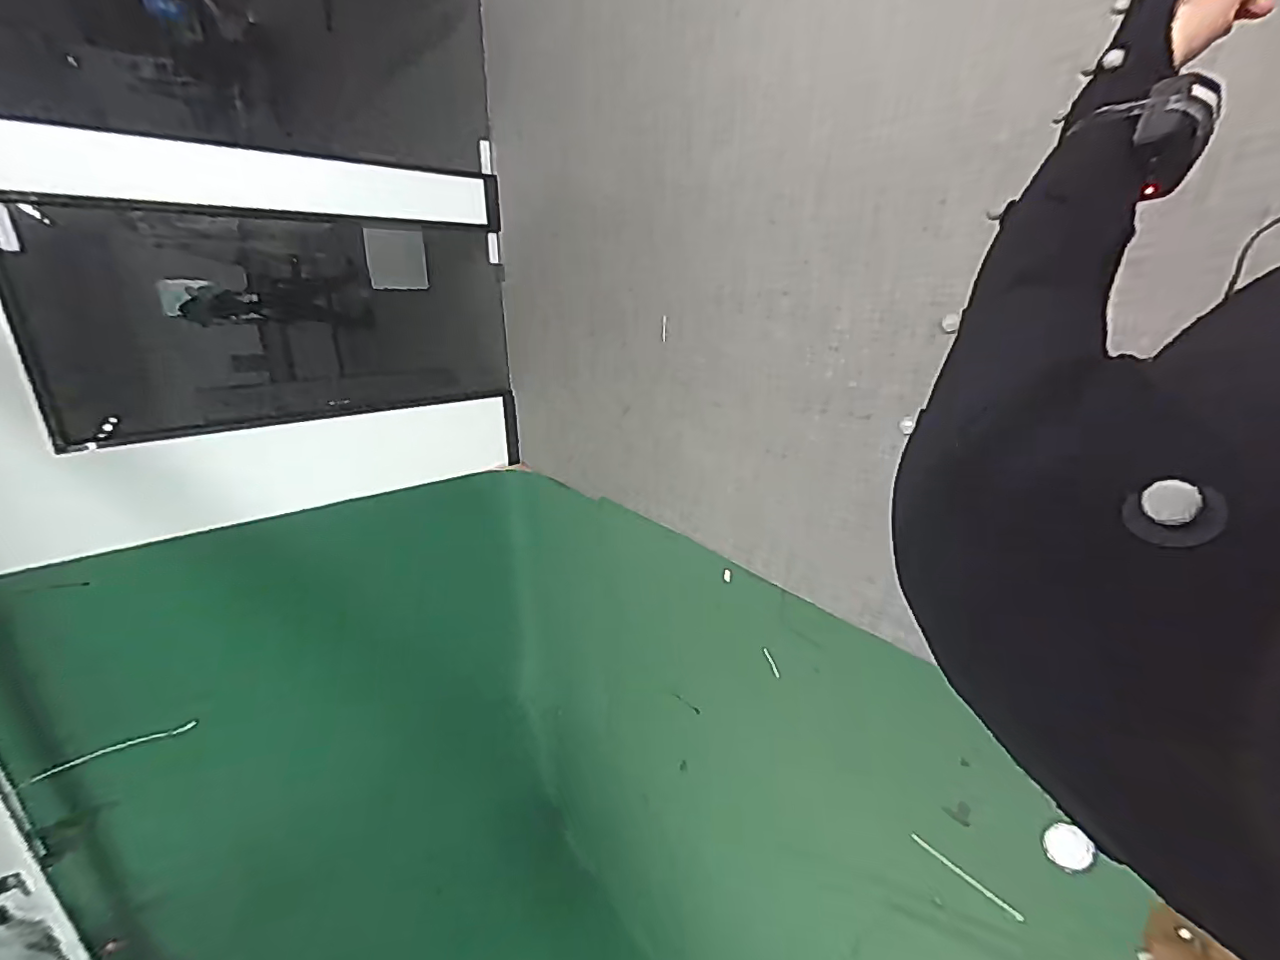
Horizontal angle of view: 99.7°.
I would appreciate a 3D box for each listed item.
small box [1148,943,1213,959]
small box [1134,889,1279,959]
[{"bbox_3d":[0.970,0.937,0.903,0.179,0.176,0.168,-12,91,53],"label":"small box"},{"bbox_3d":[1.092,0.900,1.007,0.168,0.176,0.179,59,141,23],"label":"small box"}]
